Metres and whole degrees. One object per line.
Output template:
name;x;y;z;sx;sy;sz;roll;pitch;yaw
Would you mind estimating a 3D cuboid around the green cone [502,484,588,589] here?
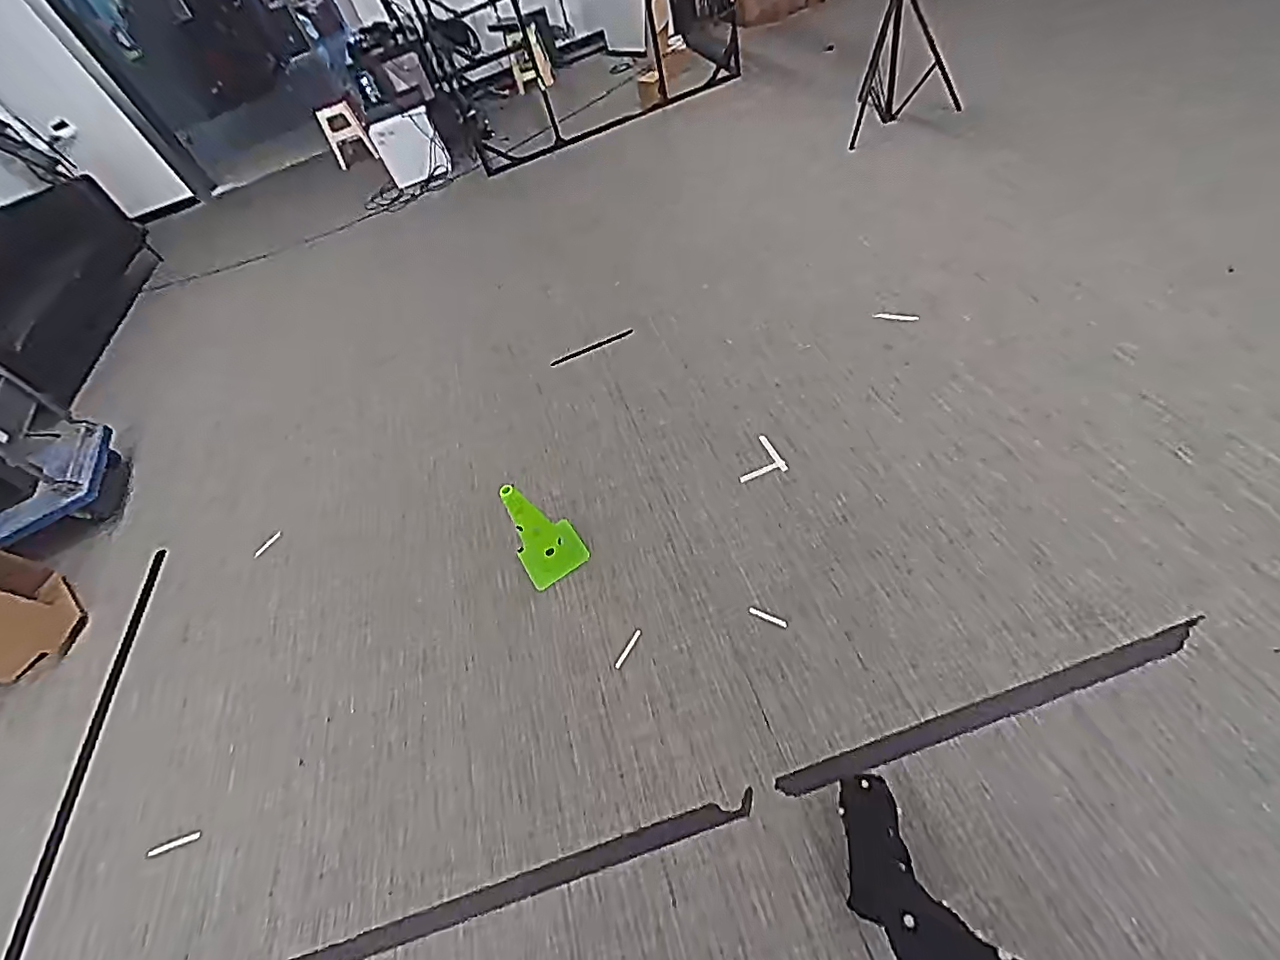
green cone;-0.328;0.138;1.641;0.202;0.368;0.200;-33;51;-11
